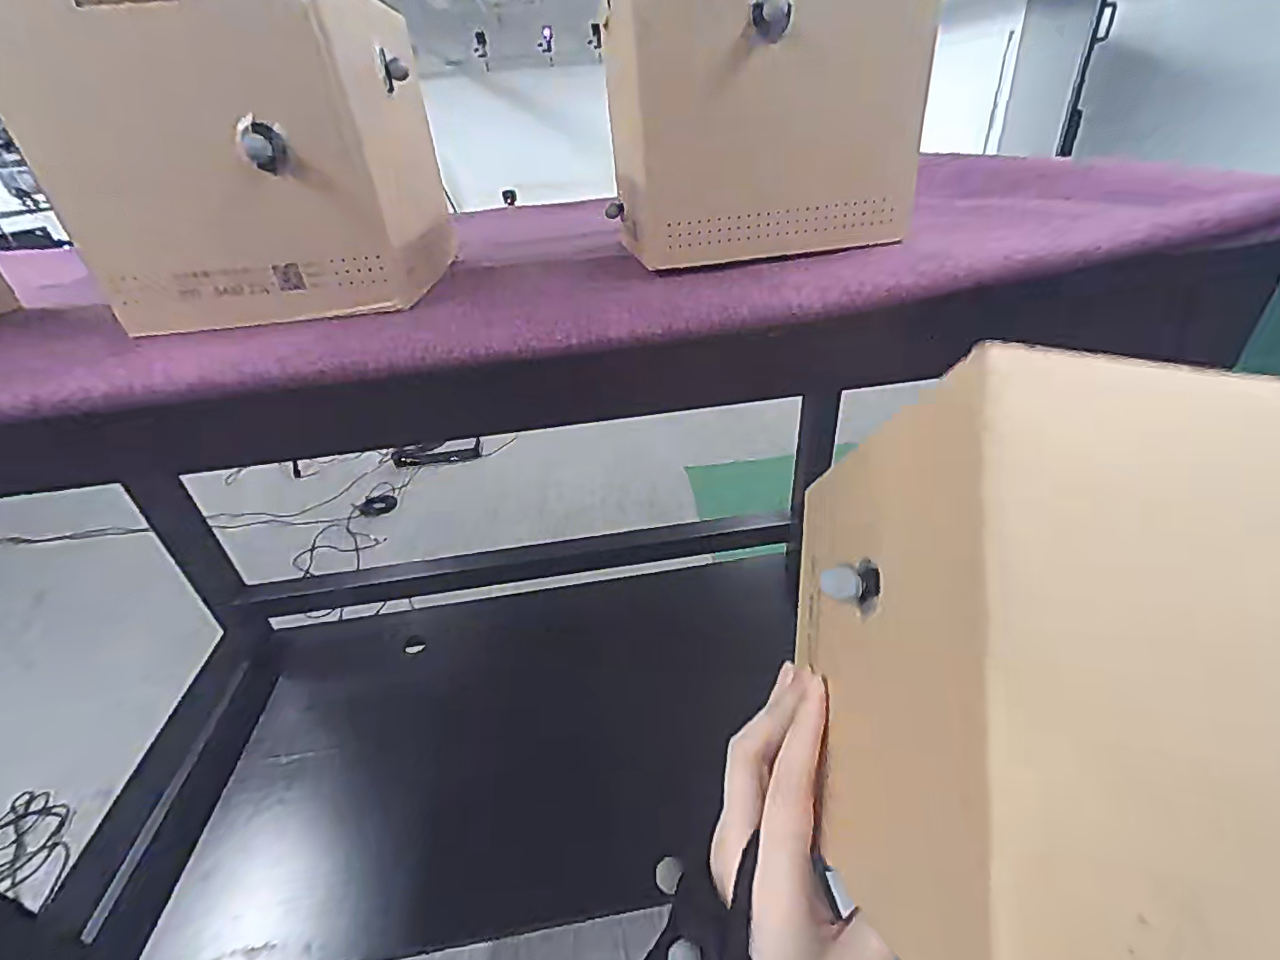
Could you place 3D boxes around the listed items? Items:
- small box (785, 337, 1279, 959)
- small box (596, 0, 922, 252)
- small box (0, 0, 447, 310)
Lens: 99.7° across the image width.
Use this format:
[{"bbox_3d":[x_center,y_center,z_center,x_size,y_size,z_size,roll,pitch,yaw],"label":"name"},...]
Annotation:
[{"bbox_3d":[0.161,0.071,0.196,0.179,0.176,0.168,8,76,2],"label":"small box"},{"bbox_3d":[0.071,-0.261,0.373,0.179,0.176,0.168,-8,31,-5],"label":"small box"},{"bbox_3d":[-0.235,-0.210,0.342,0.168,0.176,0.179,-6,32,-4],"label":"small box"}]
